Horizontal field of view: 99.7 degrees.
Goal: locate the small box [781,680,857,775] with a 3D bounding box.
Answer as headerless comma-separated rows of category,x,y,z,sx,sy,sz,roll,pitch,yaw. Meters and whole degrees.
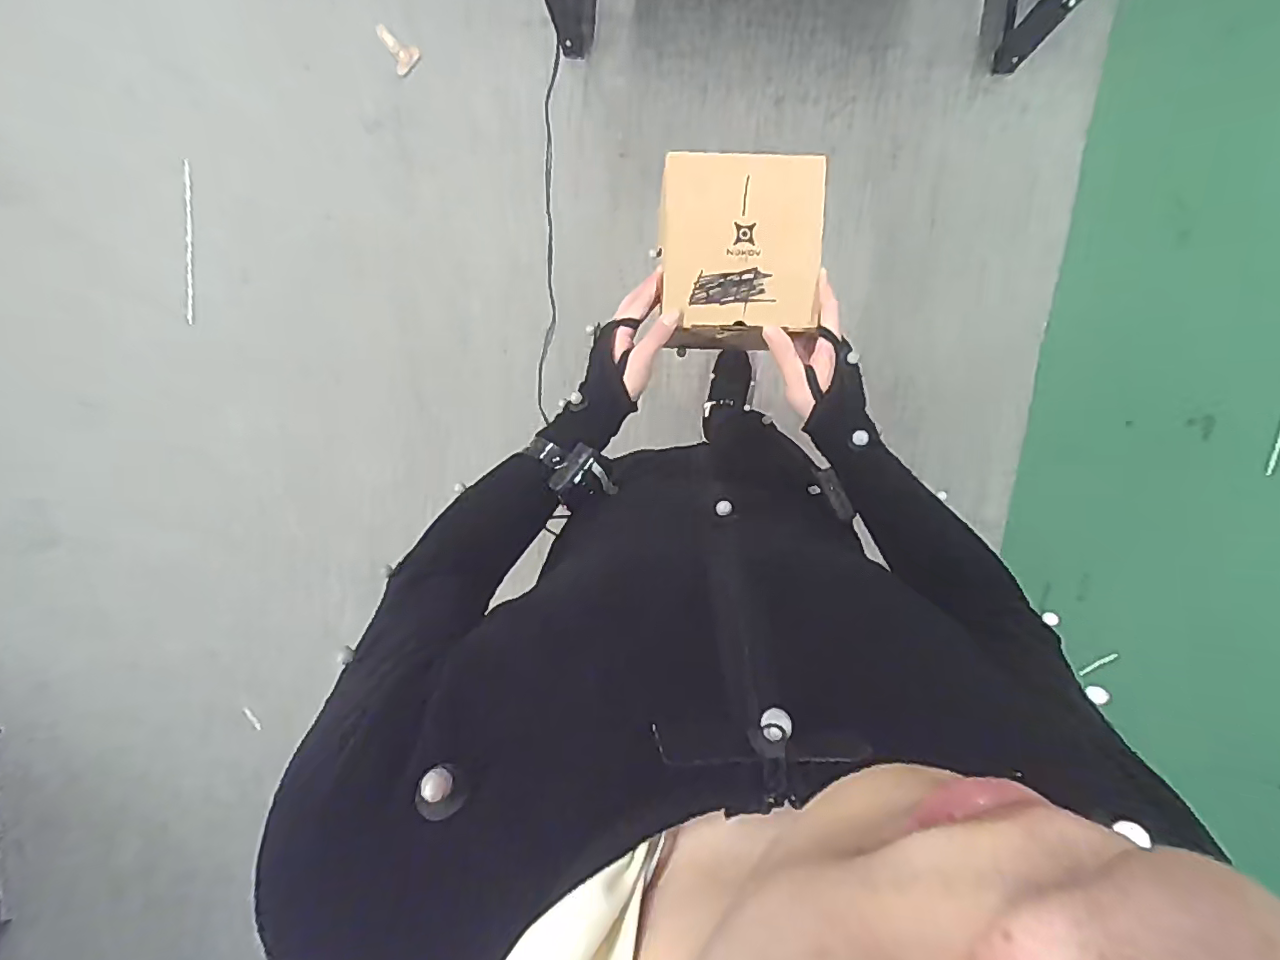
small box,0.516,0.720,1.586,0.168,0.176,0.179,9,100,5

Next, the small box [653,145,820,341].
small box,0.101,-0.262,0.637,0.168,0.176,0.179,1,96,0
